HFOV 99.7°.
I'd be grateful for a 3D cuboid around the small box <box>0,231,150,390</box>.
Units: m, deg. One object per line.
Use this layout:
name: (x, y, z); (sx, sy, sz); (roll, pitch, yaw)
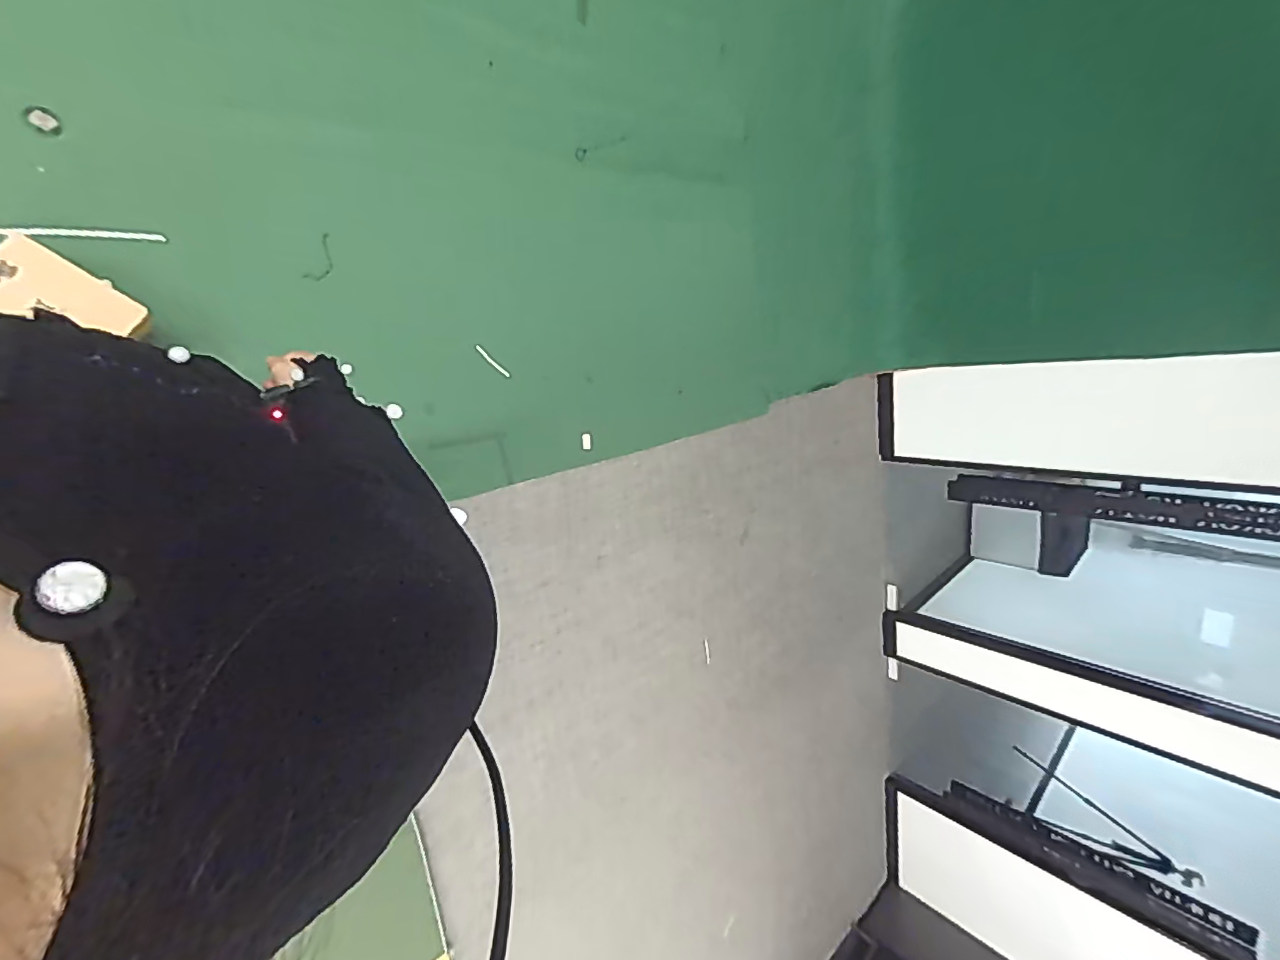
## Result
small box: (-0.946, -0.265, 0.877); (0.179, 0.176, 0.168); (40, 71, -37)
